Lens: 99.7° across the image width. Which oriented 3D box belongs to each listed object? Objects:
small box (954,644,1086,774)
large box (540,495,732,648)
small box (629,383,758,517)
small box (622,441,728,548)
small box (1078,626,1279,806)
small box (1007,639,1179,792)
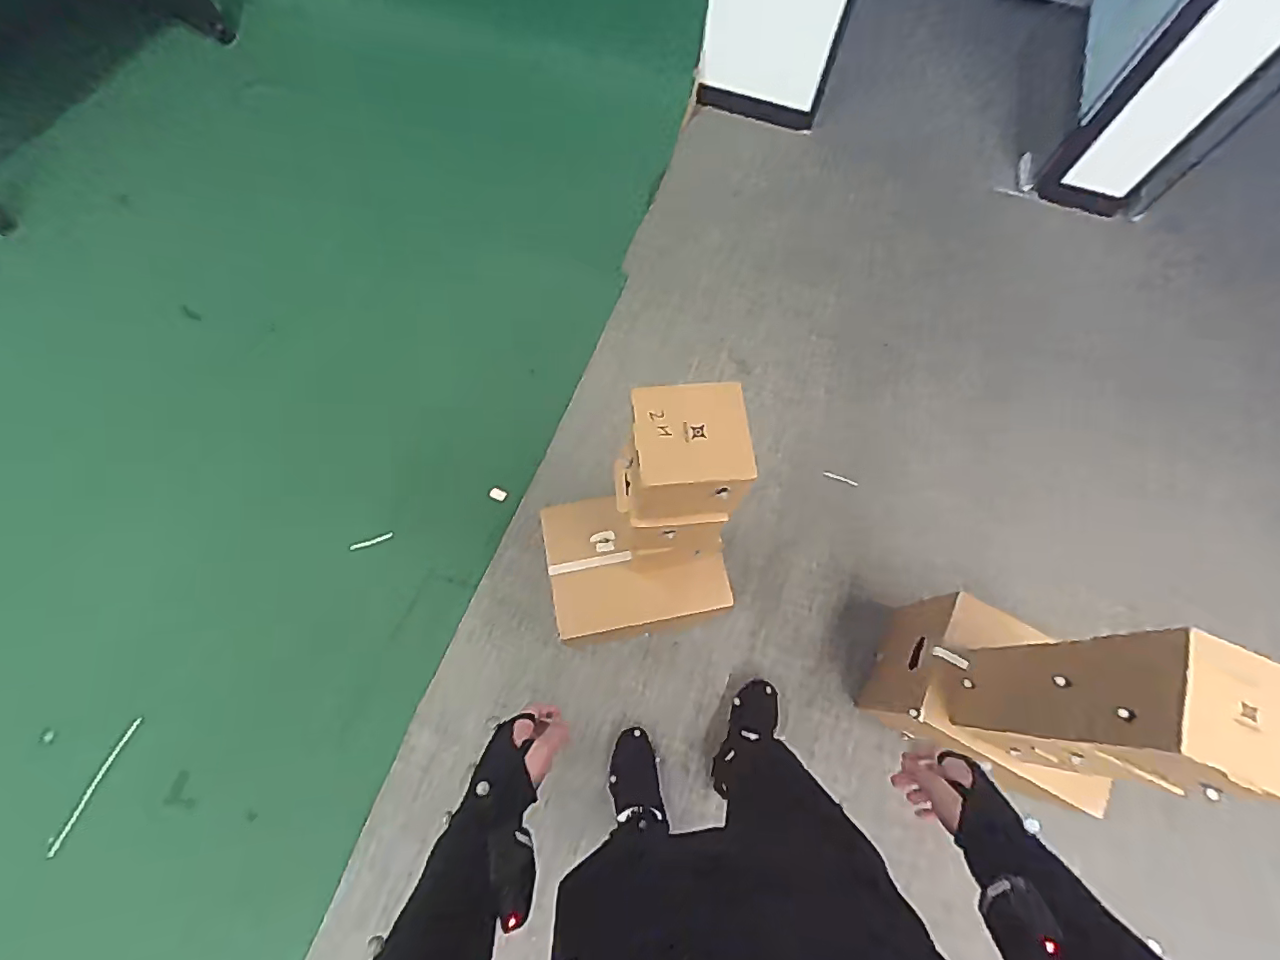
[{"bbox_3d":[0.767,0.449,1.082,0.168,0.176,0.179,26,72,7],"label":"small box"},{"bbox_3d":[-0.016,0.229,1.393,0.408,0.320,0.320,-11,69,-5],"label":"large box"},{"bbox_3d":[0.077,-0.043,0.885,0.179,0.176,0.168,-4,69,-4],"label":"small box"},{"bbox_3d":[0.058,0.029,1.033,0.179,0.176,0.168,-4,70,-4],"label":"small box"},{"bbox_3d":[0.782,0.334,0.778,0.168,0.176,0.179,25,70,6],"label":"small box"},{"bbox_3d":[0.775,0.396,0.929,0.168,0.176,0.179,25,70,7],"label":"small box"}]
